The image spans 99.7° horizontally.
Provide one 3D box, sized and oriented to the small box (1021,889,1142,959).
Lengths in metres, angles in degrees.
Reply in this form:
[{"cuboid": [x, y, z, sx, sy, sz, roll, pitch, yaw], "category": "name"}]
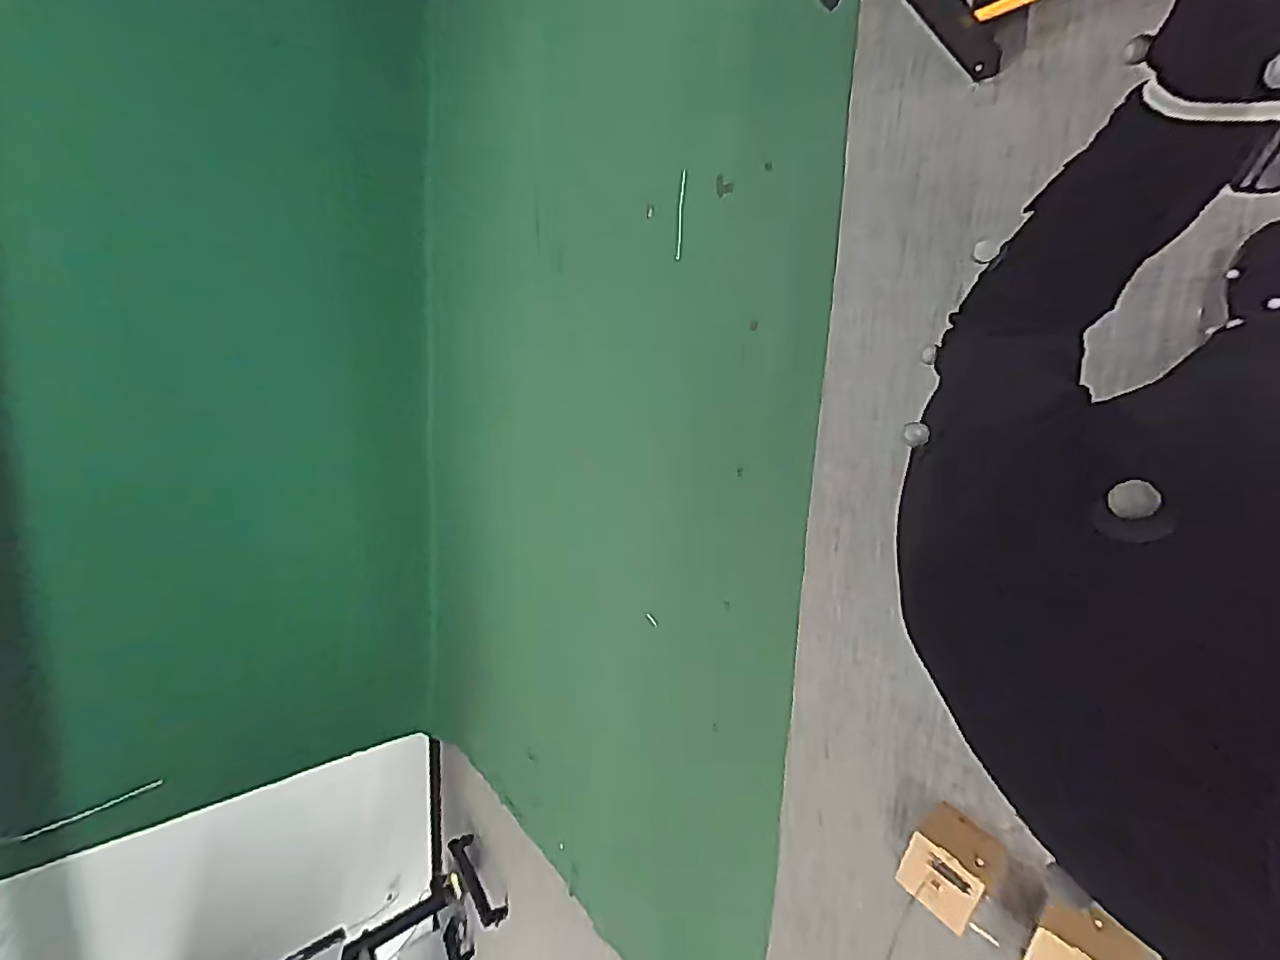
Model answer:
[{"cuboid": [0.947, 1.052, 1.168, 0.168, 0.176, 0.179, 24, 110, 45], "category": "small box"}]
